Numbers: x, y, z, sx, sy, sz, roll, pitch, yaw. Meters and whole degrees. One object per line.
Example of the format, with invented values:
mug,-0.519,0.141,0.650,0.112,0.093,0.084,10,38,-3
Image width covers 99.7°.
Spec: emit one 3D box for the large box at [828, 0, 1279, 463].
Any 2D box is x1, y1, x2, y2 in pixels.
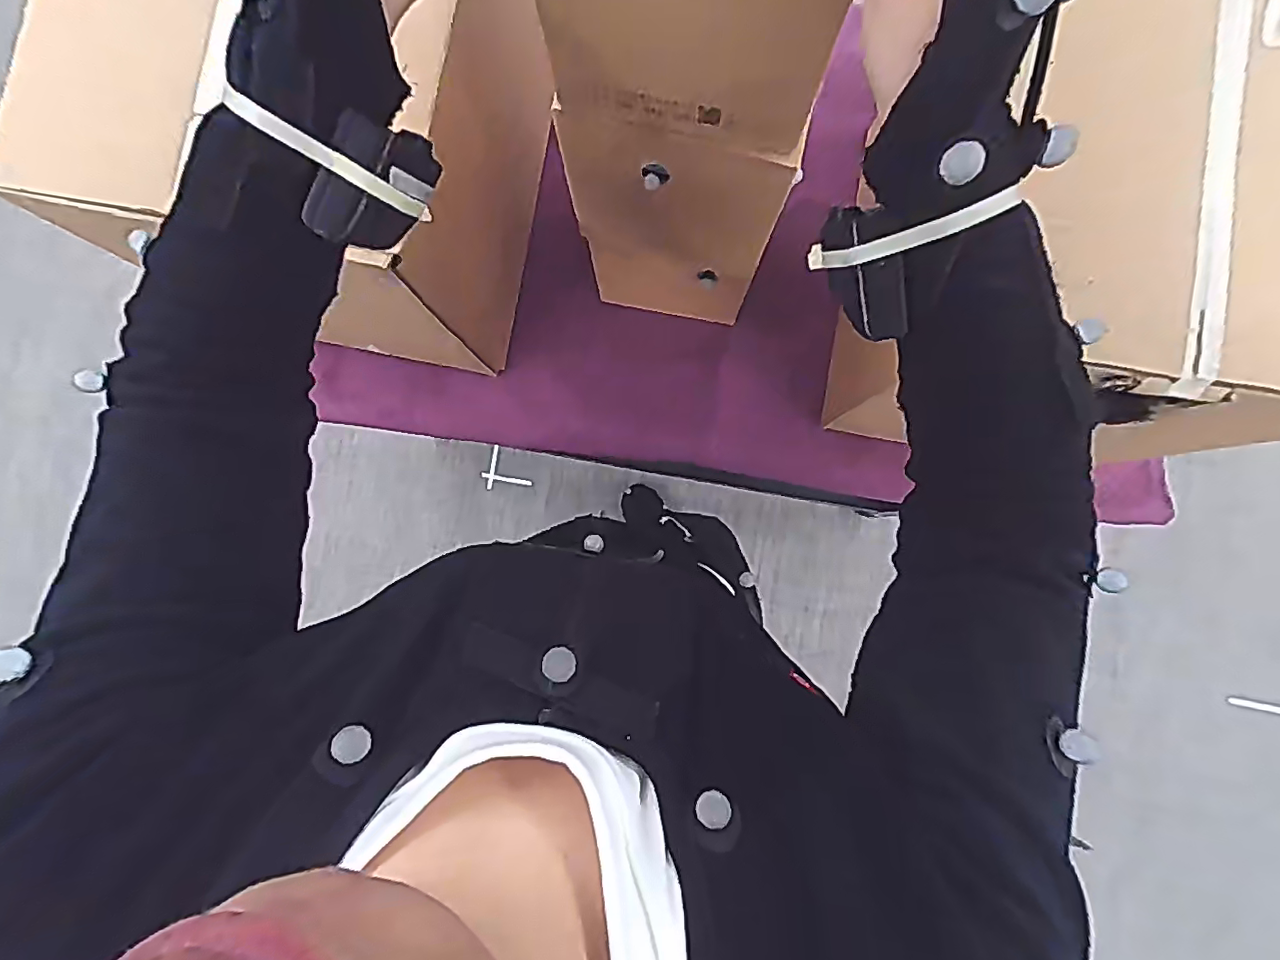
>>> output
large box,0.402,-0.249,0.531,0.320,0.320,0.408,9,84,1
